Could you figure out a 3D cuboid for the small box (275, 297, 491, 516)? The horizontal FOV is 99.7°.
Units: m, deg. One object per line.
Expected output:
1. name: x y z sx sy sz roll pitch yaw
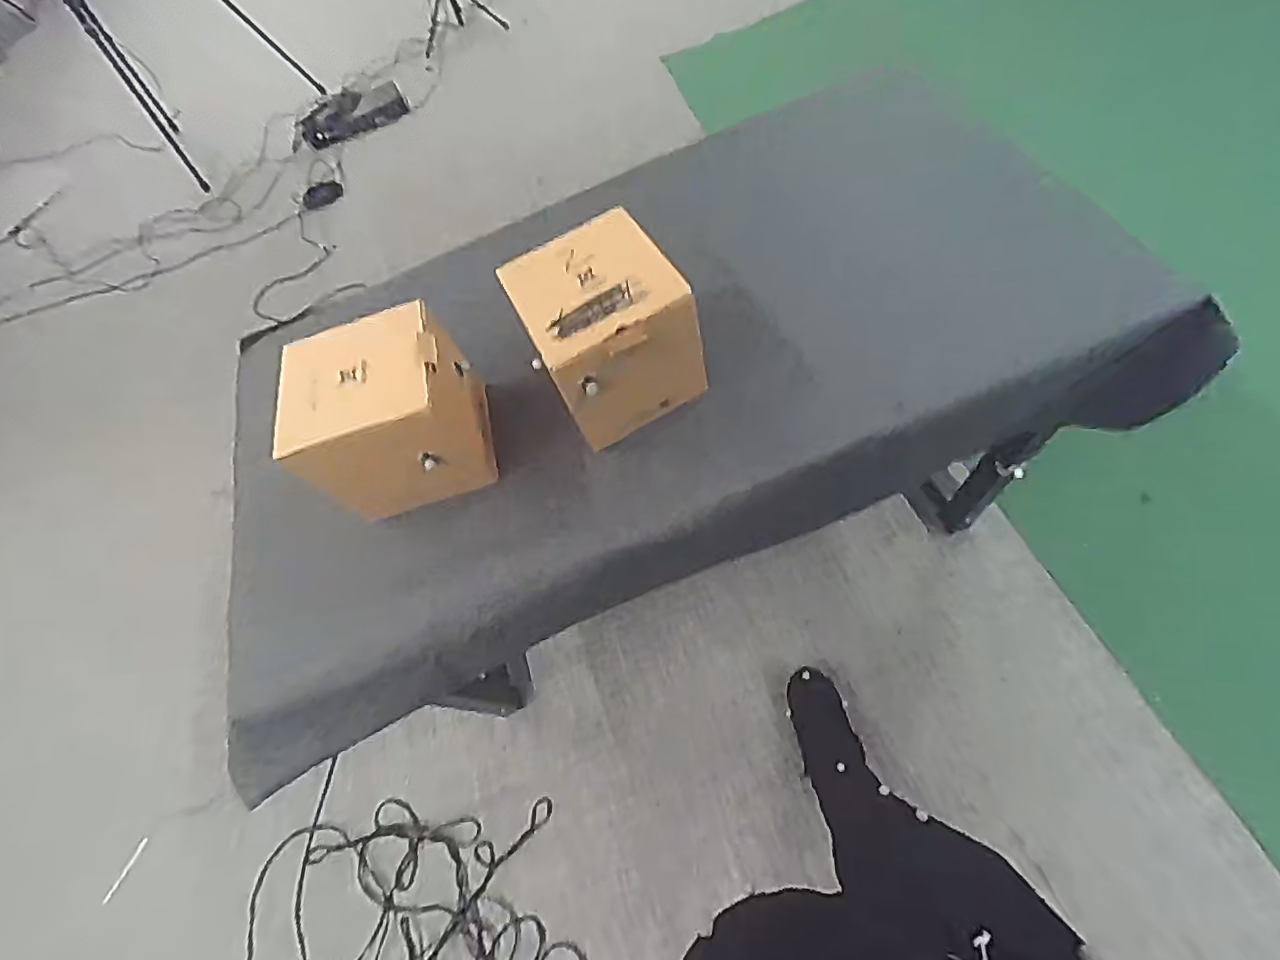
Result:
1. small box: -0.293 -0.080 0.652 0.179 0.176 0.168 -19 60 3
